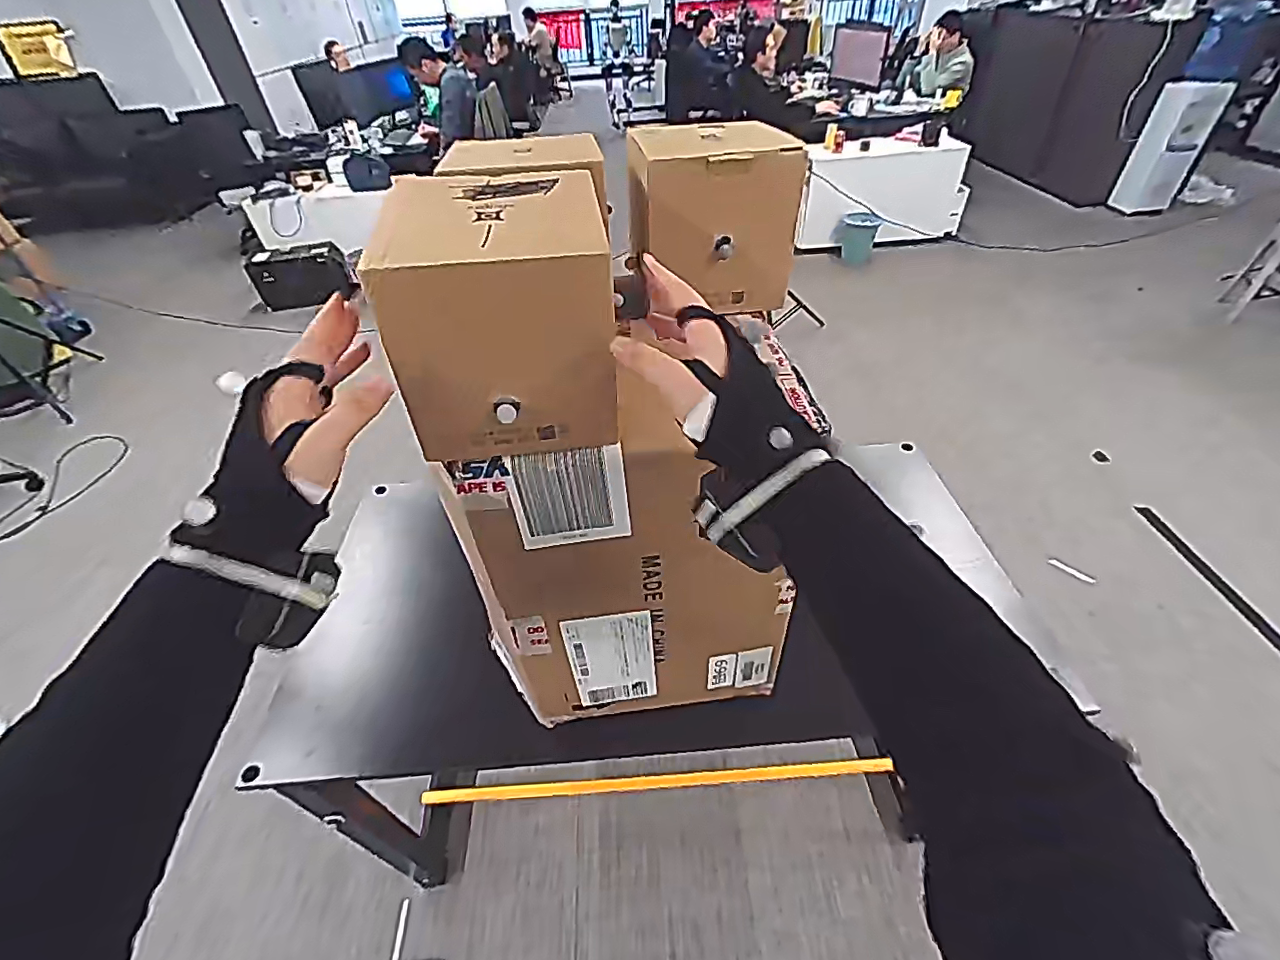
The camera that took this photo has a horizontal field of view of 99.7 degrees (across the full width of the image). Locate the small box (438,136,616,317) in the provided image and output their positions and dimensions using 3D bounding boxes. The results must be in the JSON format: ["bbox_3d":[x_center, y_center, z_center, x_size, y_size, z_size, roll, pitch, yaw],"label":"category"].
[{"bbox_3d":[-0.123,-0.291,0.639,0.168,0.176,0.179,-9,41,-5],"label":"small box"}]

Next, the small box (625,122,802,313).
[{"bbox_3d":[0.075,-0.310,0.646,0.168,0.176,0.179,-6,42,-5],"label":"small box"}]

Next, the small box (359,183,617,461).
[{"bbox_3d":[-0.111,-0.139,0.468,0.168,0.176,0.179,-7,44,-5],"label":"small box"}]
